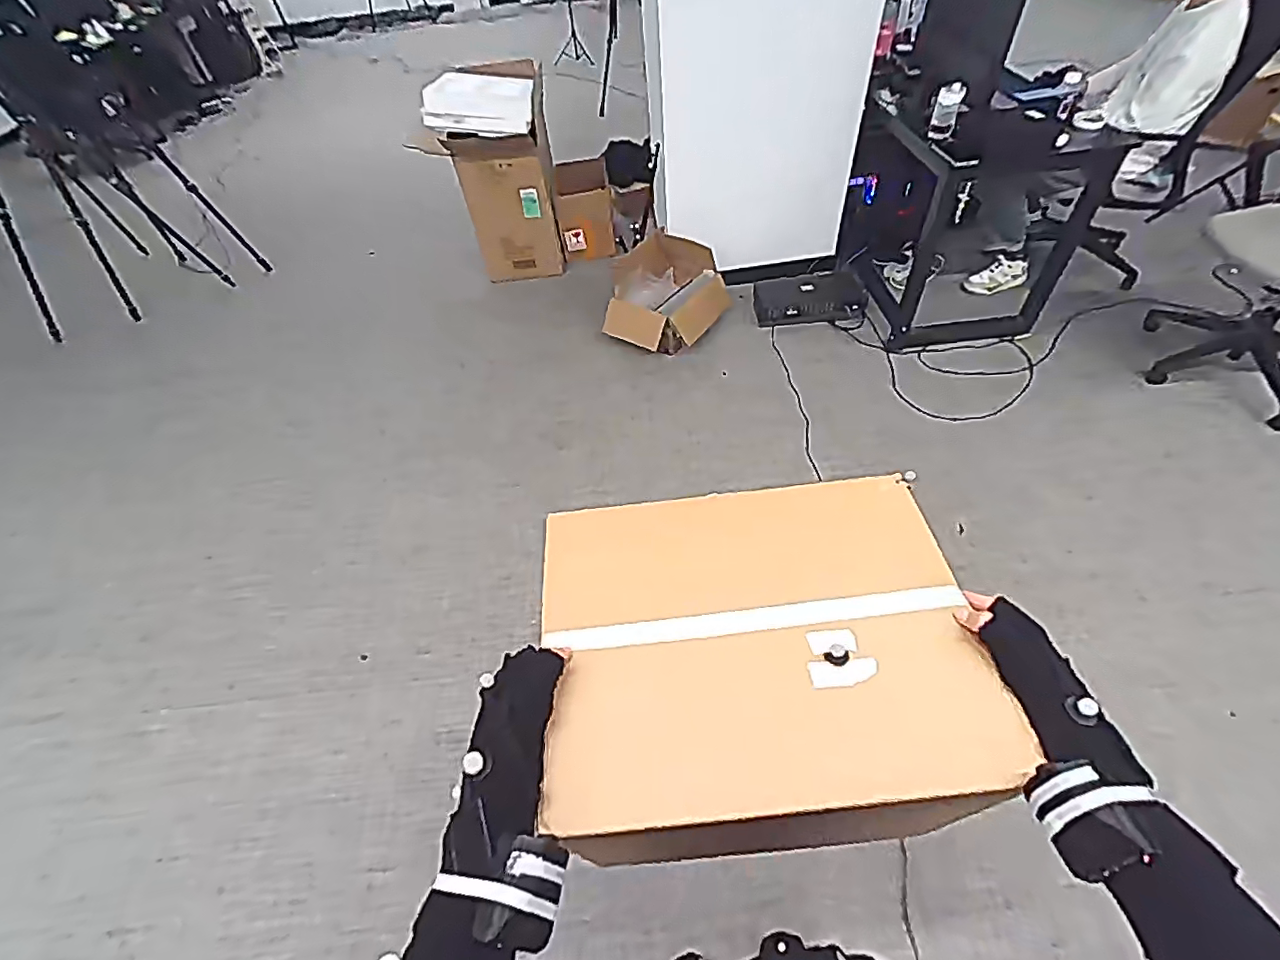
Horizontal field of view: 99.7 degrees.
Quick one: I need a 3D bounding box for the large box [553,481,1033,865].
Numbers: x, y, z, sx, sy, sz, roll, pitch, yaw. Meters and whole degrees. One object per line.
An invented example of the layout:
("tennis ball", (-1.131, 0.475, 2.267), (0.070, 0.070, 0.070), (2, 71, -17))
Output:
("large box", (0.122, 0.236, 0.646), (0.408, 0.320, 0.320), (-7, 50, 1))
